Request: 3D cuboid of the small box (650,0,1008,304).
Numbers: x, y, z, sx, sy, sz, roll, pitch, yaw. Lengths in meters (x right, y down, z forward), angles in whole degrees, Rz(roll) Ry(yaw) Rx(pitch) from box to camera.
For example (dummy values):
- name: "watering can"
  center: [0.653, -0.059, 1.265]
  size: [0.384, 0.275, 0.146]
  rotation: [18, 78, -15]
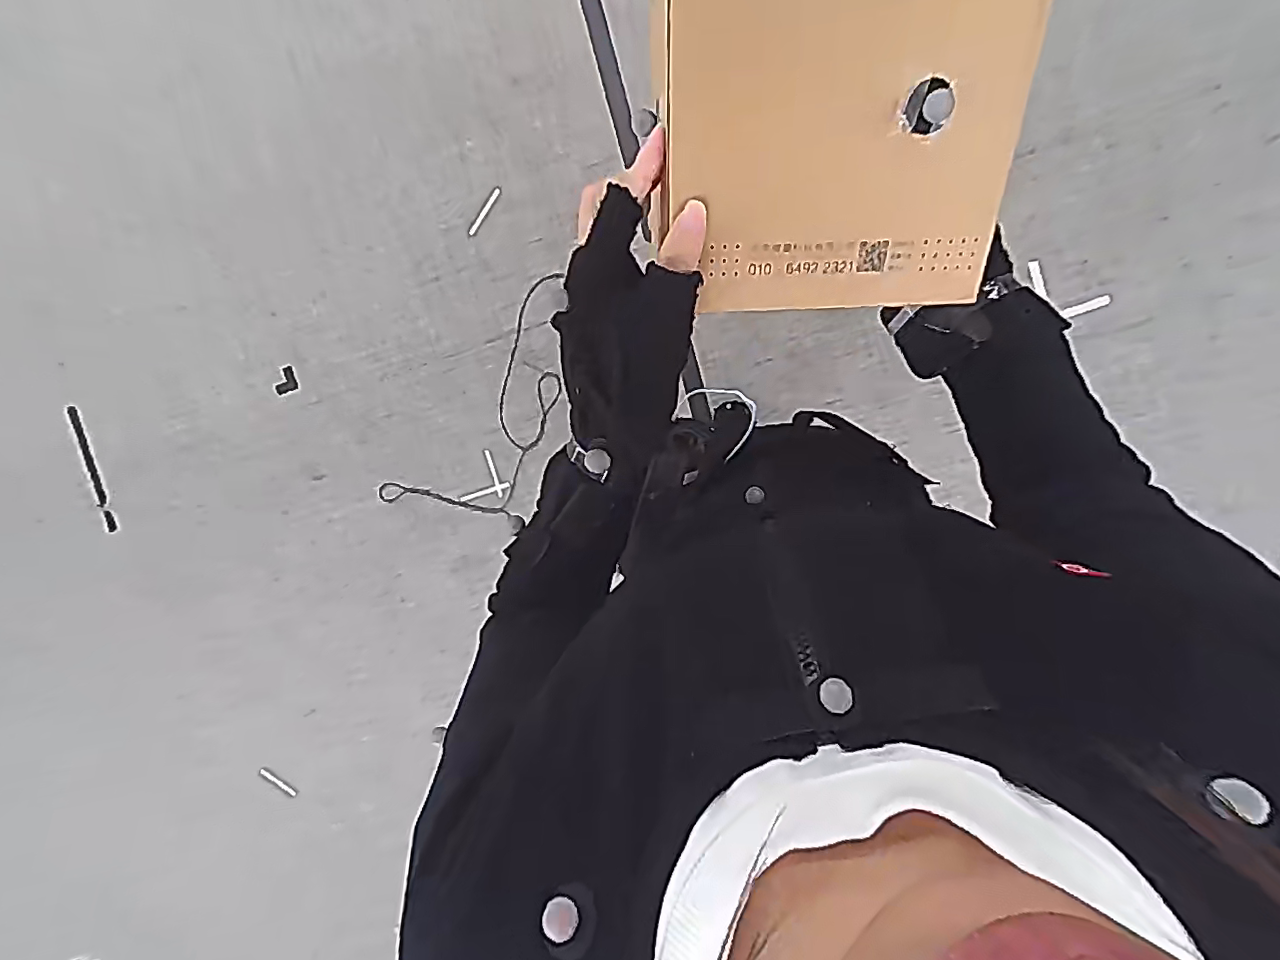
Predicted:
- name: "small box"
  center: [0.093, -0.210, 0.341]
  size: [0.168, 0.179, 0.176]
  rotation: [-1, 118, -1]
